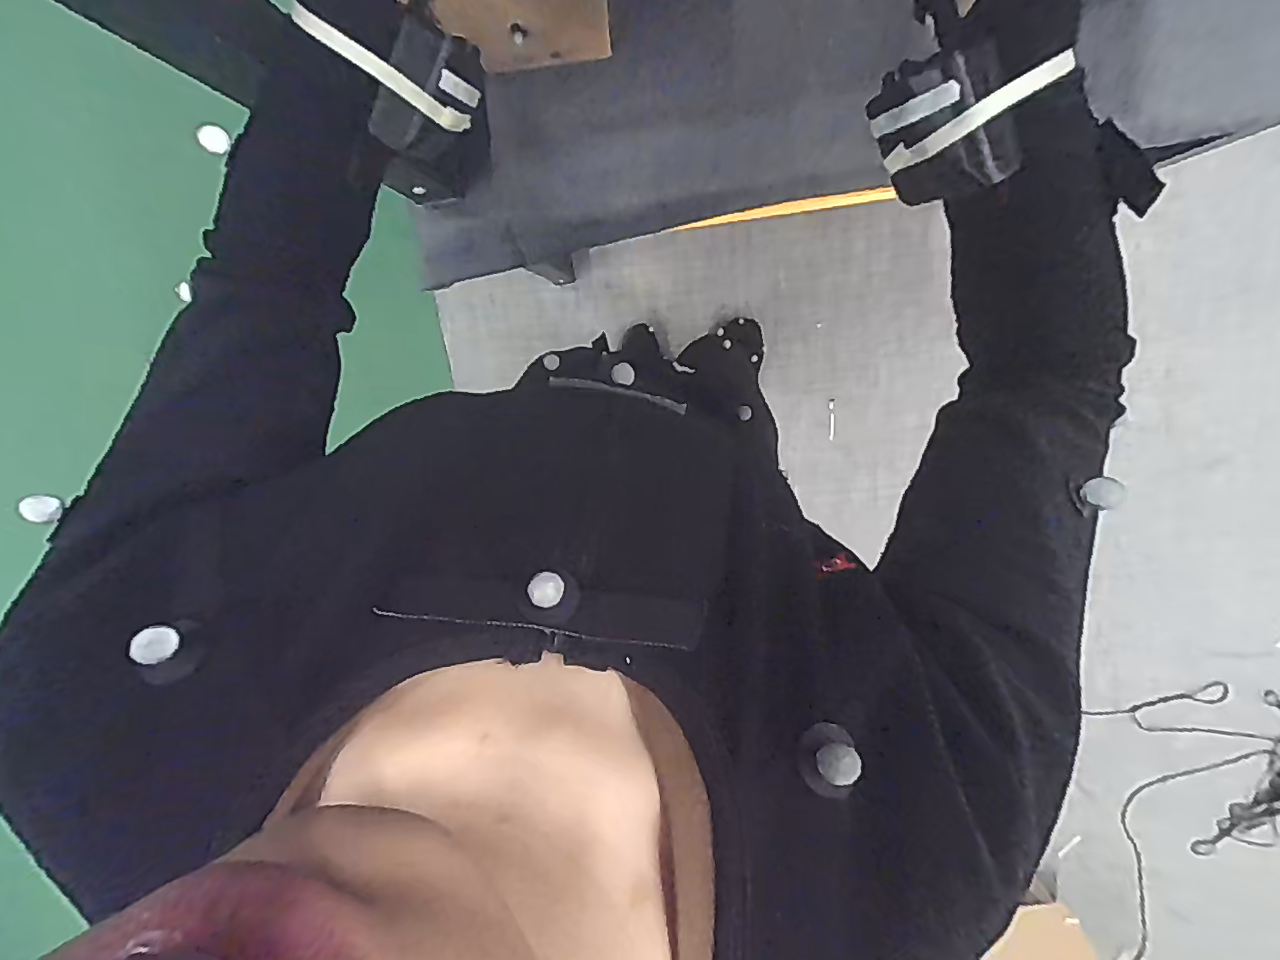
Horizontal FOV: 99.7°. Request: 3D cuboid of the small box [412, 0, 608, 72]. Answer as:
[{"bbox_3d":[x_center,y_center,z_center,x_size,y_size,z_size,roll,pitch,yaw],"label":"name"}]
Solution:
[{"bbox_3d":[-0.126,-0.532,0.524,0.168,0.176,0.179,-4,103,4],"label":"small box"}]
